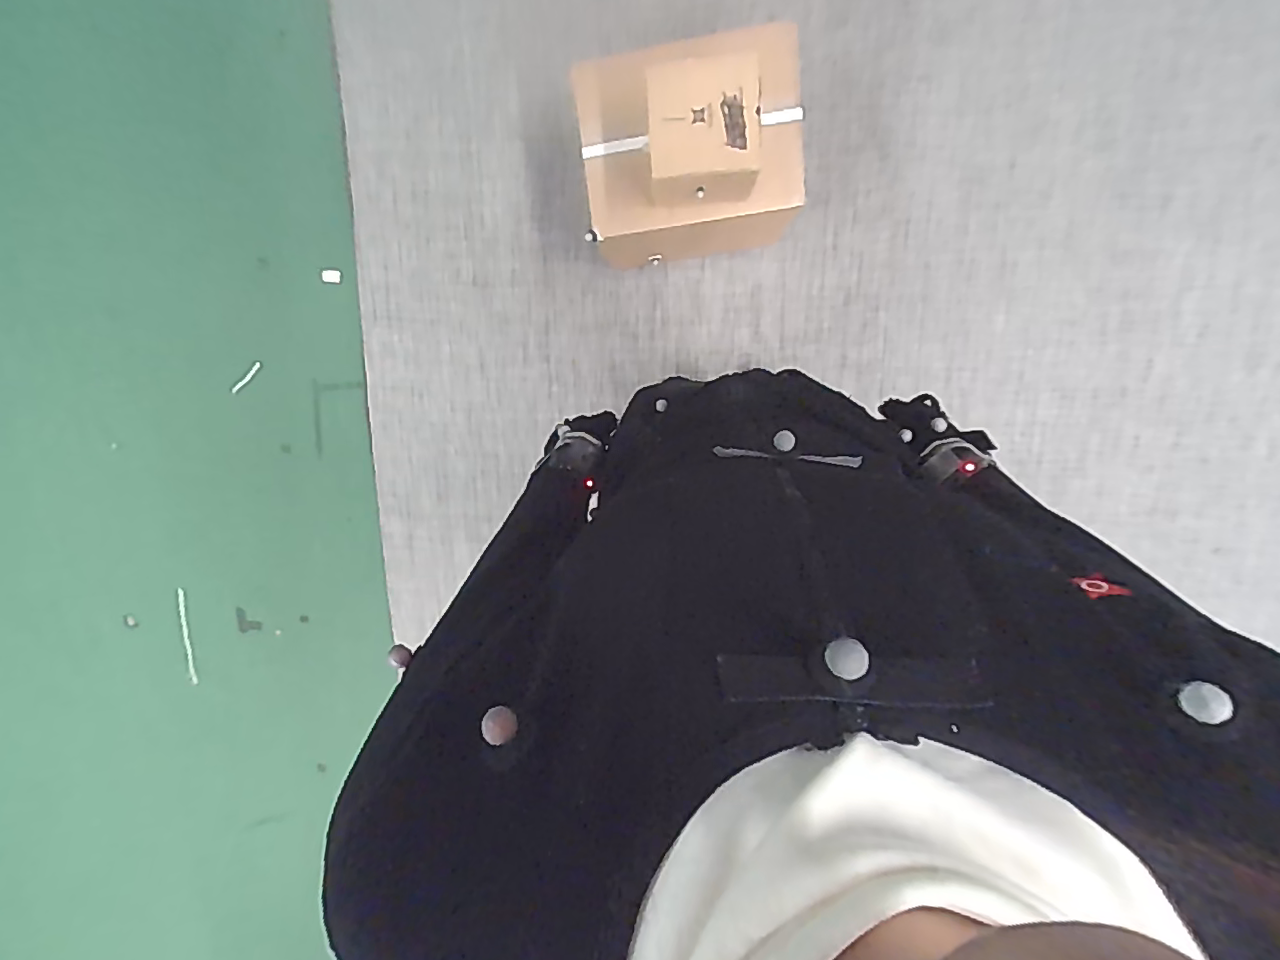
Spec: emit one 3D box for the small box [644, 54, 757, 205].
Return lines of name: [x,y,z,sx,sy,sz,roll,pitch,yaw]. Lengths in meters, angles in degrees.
small box: [0.102,-0.588,0.929,0.179,0.176,0.168,-2,102,6]
